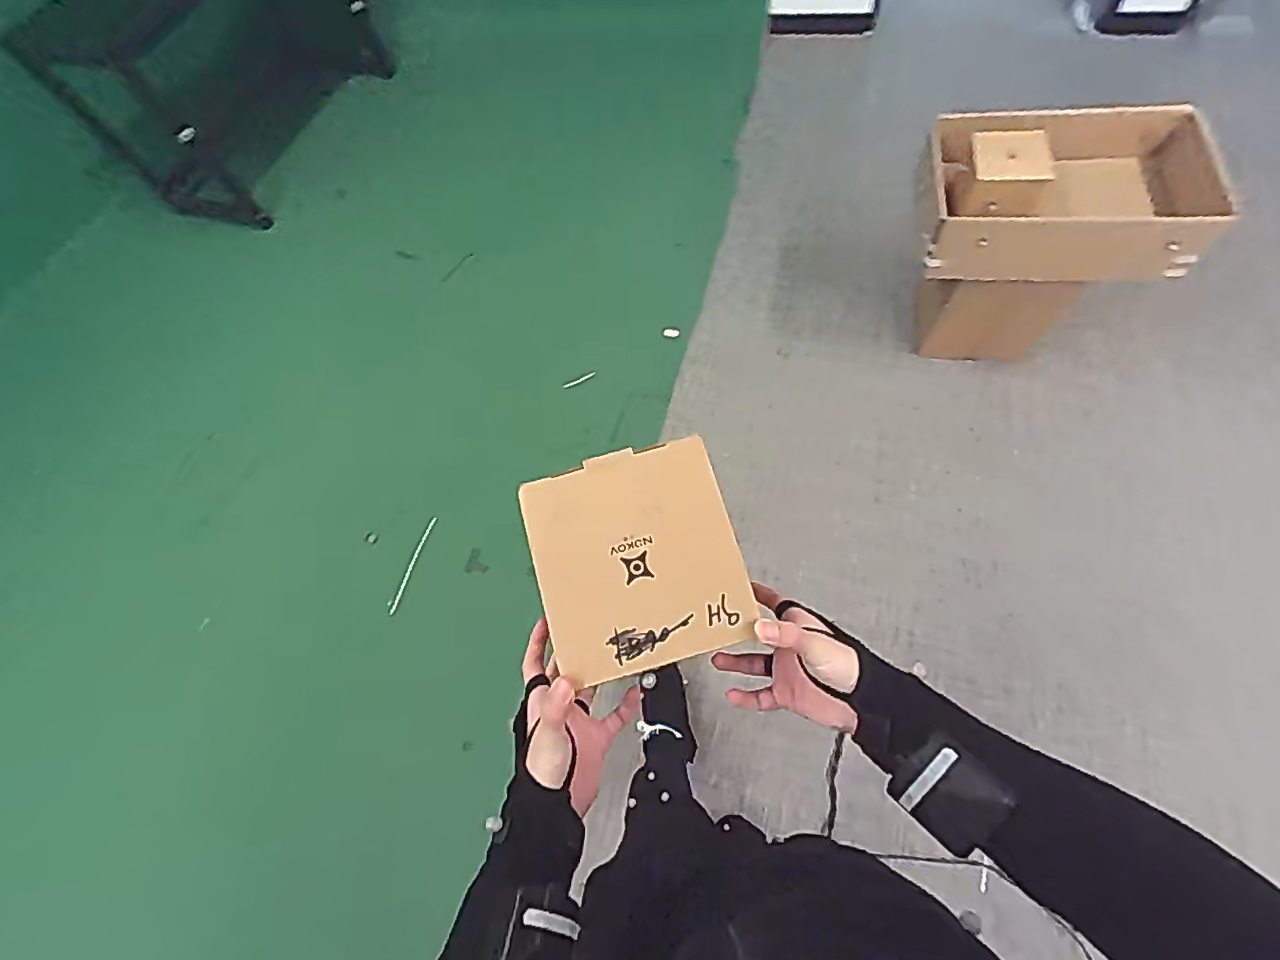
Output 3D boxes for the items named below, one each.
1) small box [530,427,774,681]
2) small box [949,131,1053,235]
[{"bbox_3d":[0.010,0.076,0.508,0.168,0.176,0.179,-15,74,1],"label":"small box"},{"bbox_3d":[0.912,-0.751,1.381,0.168,0.176,0.179,5,66,11],"label":"small box"}]
